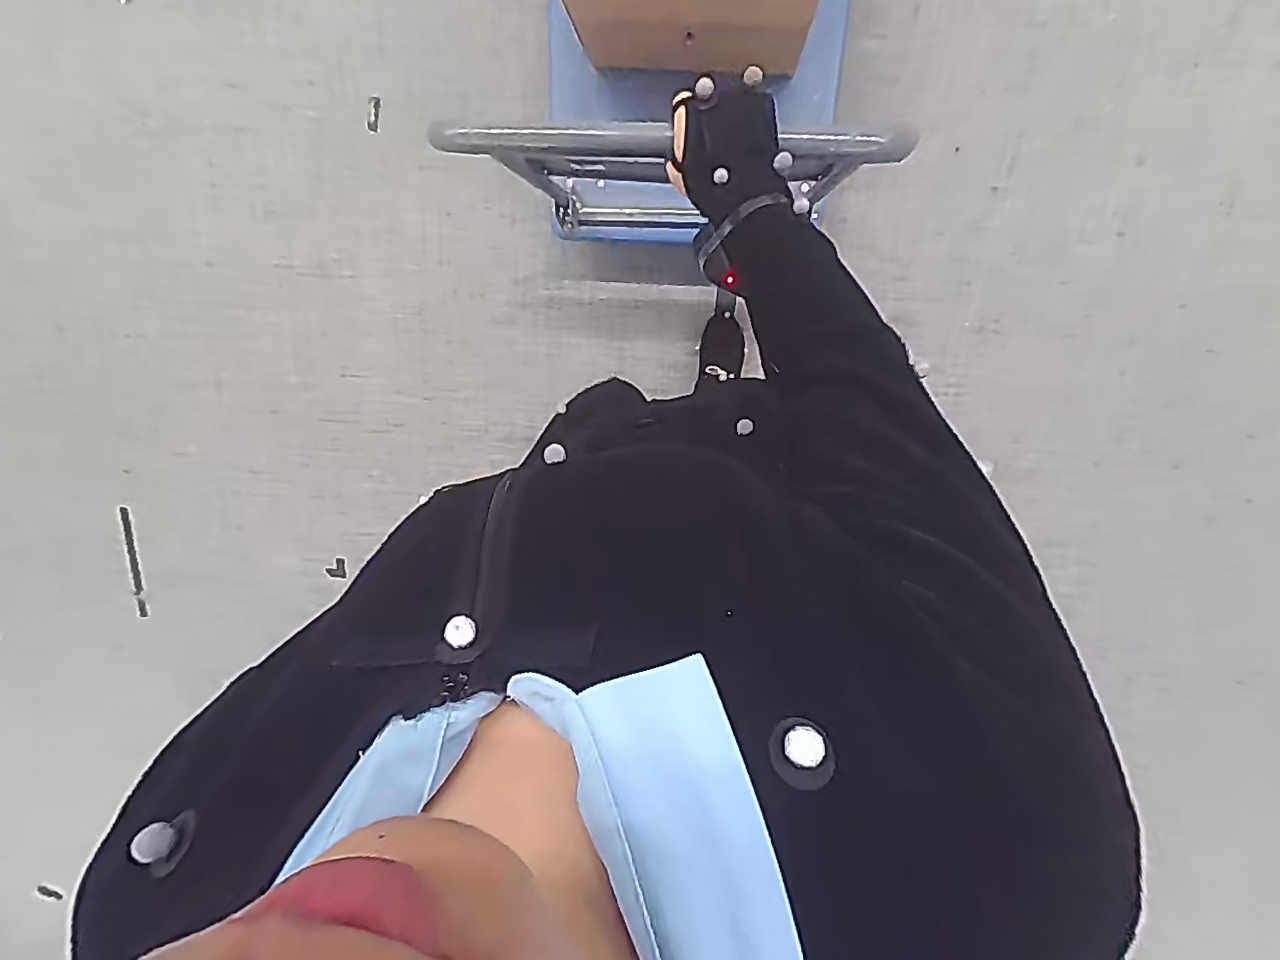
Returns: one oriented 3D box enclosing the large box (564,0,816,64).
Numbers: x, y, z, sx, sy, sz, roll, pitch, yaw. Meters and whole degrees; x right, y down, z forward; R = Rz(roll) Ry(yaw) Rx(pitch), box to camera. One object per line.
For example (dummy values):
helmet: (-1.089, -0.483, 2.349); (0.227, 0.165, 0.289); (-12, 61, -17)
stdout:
large box: (0.092, -0.918, 0.873); (0.408, 0.320, 0.320); (6, 105, 6)
